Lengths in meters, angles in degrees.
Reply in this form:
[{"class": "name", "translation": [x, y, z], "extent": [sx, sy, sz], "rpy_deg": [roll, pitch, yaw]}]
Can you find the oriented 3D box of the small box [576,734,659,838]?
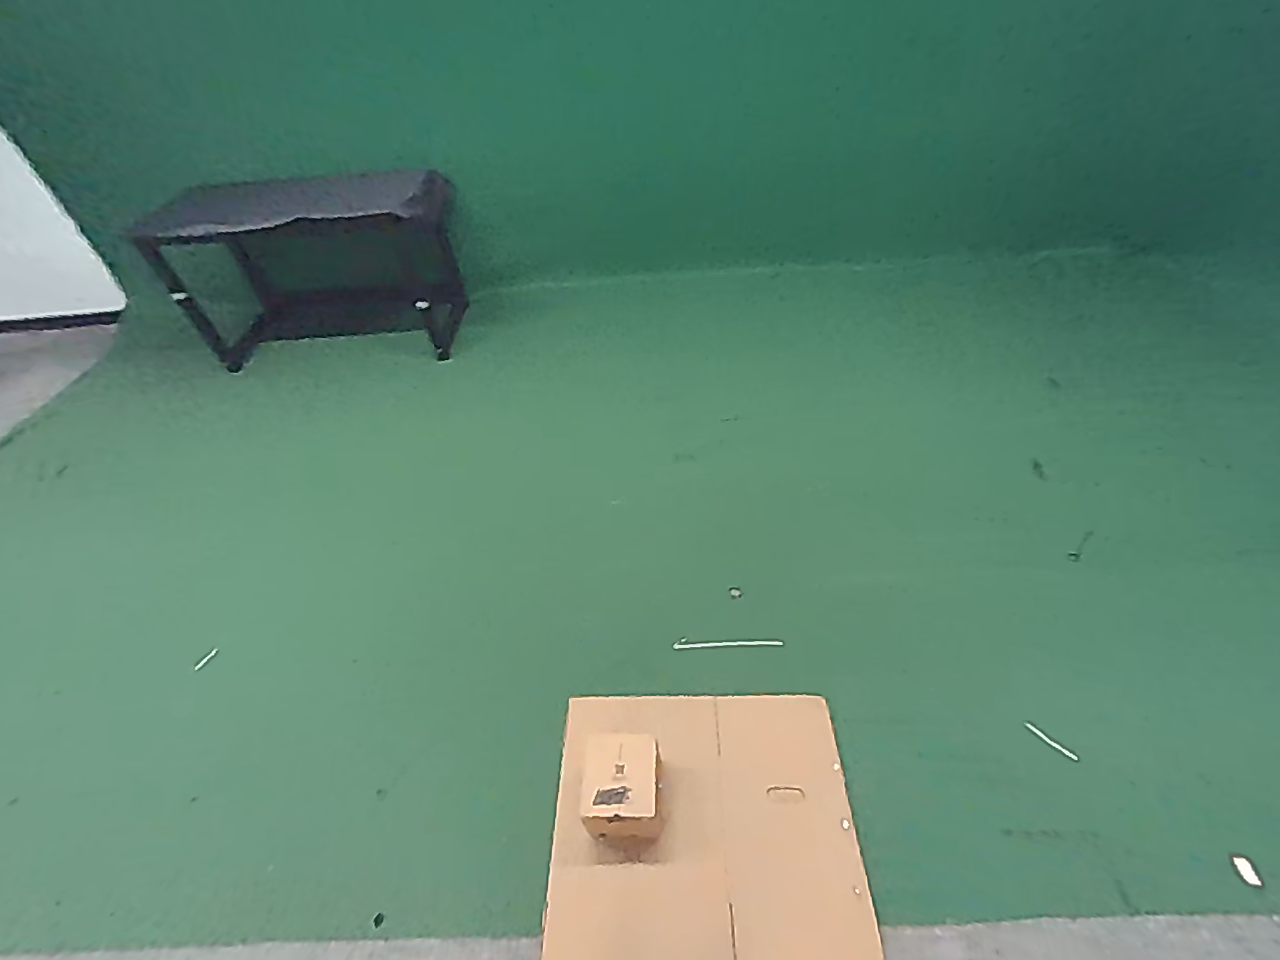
[{"class": "small box", "translation": [-0.043, 0.712, 1.252], "extent": [0.168, 0.176, 0.179], "rpy_deg": [-2, 43, 5]}]
